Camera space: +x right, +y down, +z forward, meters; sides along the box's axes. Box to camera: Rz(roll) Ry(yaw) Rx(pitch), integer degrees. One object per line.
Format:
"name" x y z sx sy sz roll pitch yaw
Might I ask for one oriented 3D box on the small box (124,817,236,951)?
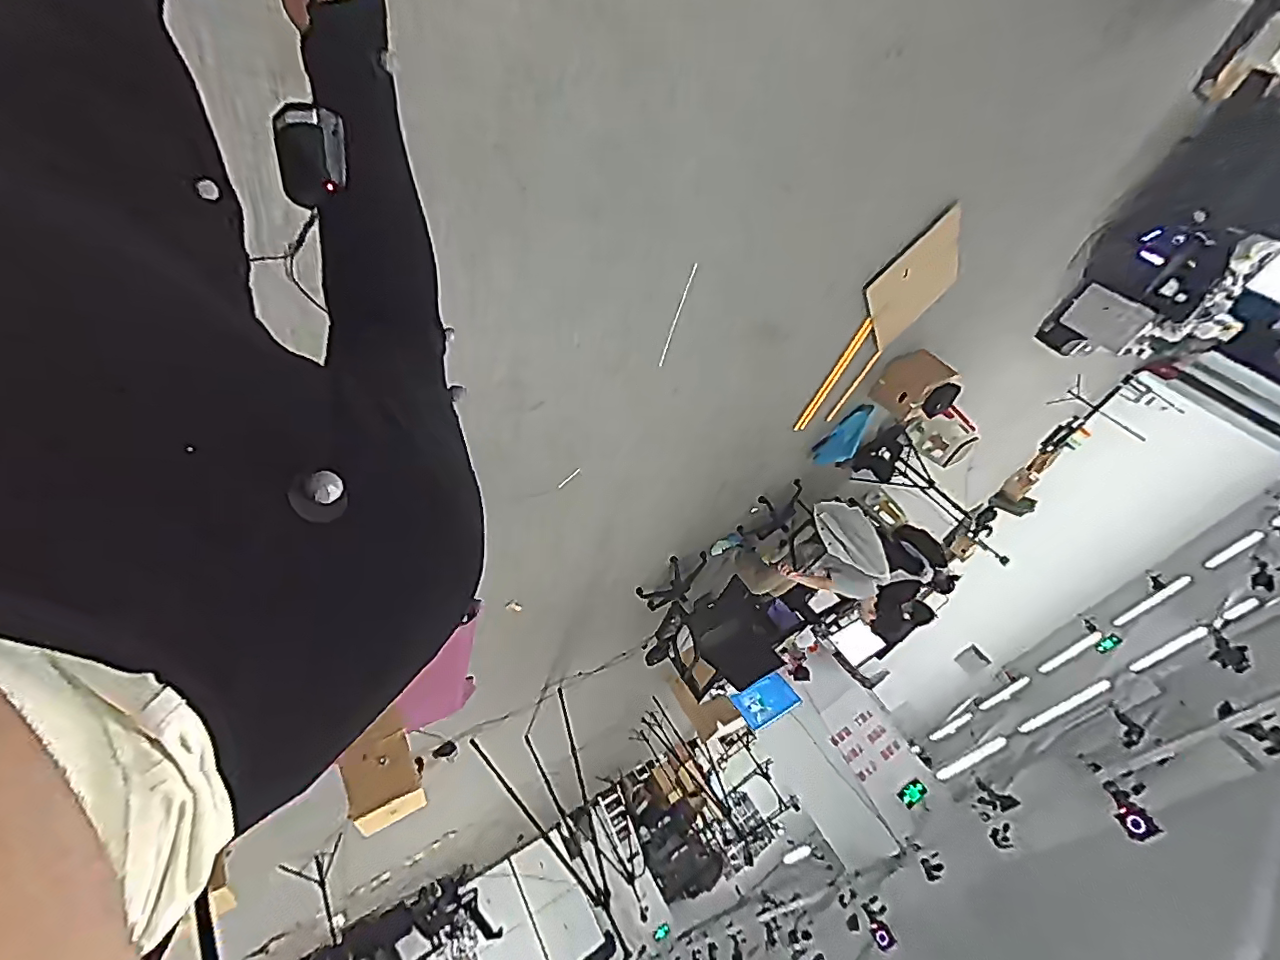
"small box" -1.039 0.905 1.225 0.168 0.176 0.179 -12 140 -36

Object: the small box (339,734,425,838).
"small box" -0.698 0.825 1.467 0.168 0.176 0.179 -18 143 -29

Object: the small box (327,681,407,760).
"small box" -0.779 0.711 1.550 0.168 0.176 0.179 -17 143 -31
